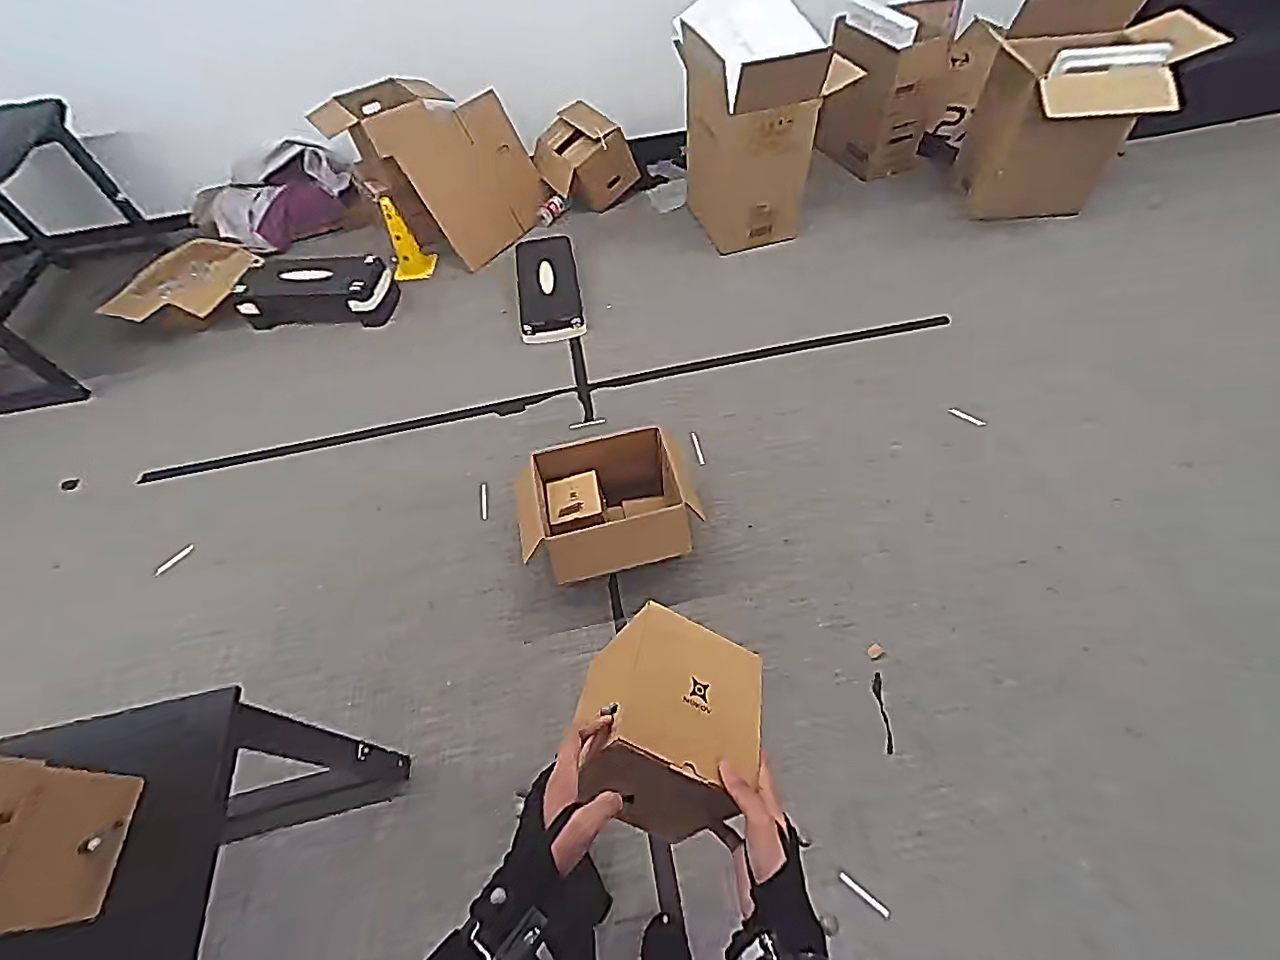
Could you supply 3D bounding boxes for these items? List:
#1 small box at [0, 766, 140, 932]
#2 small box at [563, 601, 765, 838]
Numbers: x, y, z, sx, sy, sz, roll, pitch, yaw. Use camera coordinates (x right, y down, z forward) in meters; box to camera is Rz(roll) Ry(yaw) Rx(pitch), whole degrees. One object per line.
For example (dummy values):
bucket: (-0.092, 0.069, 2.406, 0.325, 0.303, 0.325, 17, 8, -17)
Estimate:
small box: (-0.819, 0.477, 0.691, 0.179, 0.176, 0.168, -8, 56, 0)
small box: (0.029, 0.283, 0.638, 0.168, 0.176, 0.179, 29, 39, -9)
